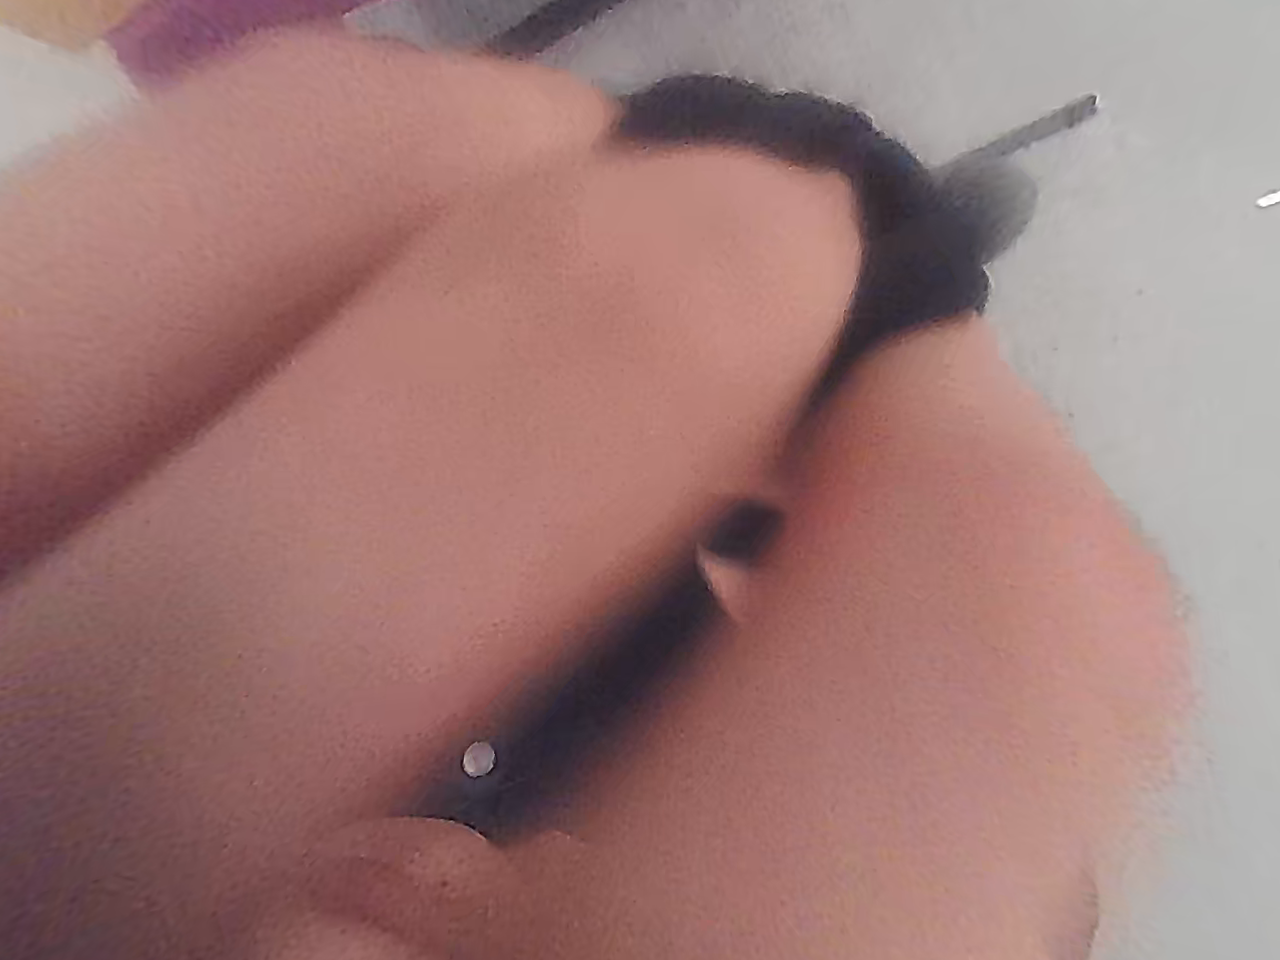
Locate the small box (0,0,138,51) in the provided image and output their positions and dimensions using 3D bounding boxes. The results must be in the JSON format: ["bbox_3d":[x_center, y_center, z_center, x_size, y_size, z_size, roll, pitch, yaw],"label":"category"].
[{"bbox_3d":[-0.745,-0.659,0.627,0.179,0.176,0.168,-27,103,10],"label":"small box"}]
